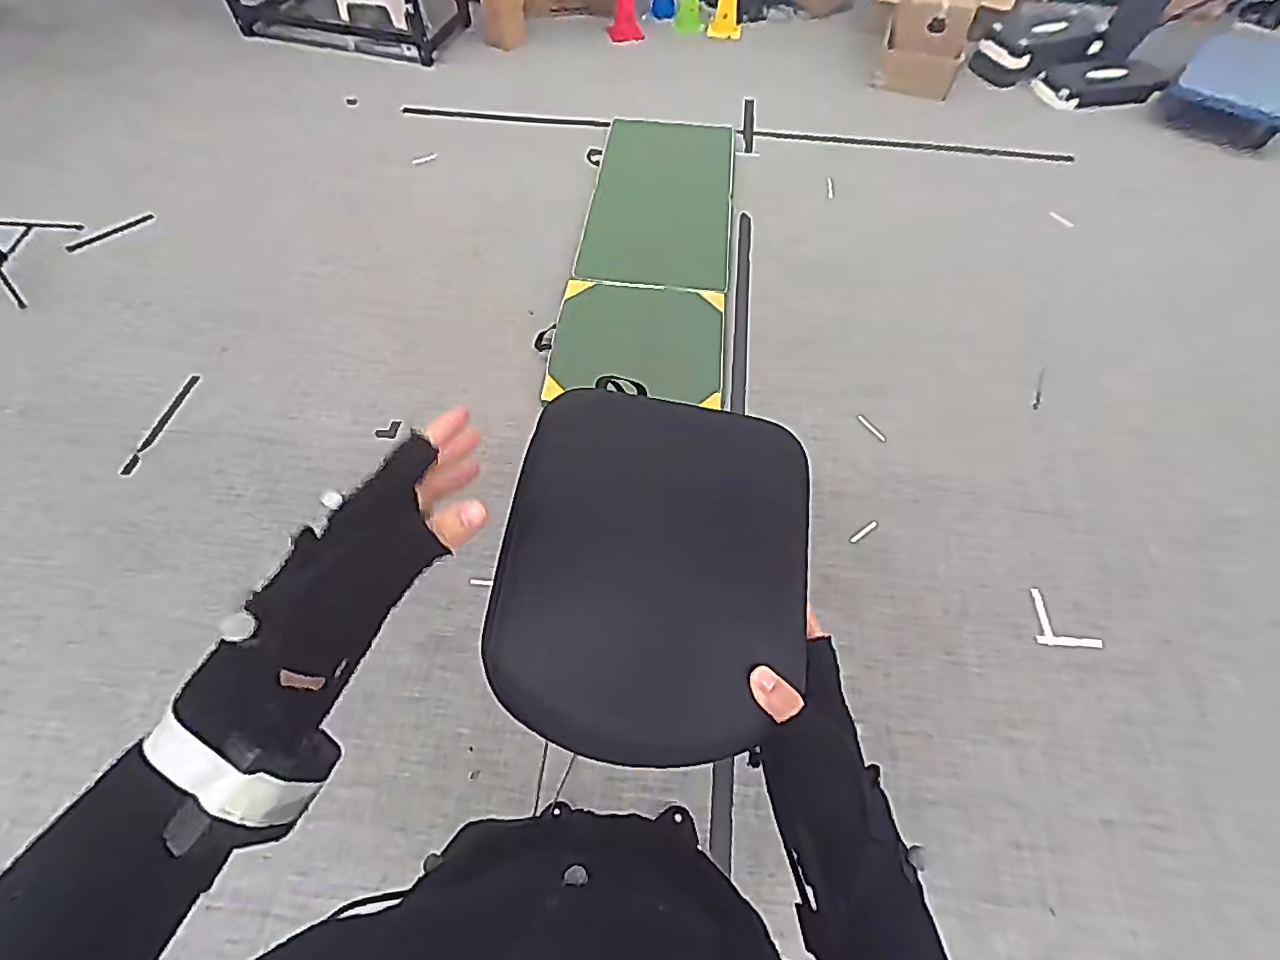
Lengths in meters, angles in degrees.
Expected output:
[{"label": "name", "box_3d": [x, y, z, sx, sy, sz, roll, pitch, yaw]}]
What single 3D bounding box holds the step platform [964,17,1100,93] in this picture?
[{"label": "step platform", "box_3d": [2.212, -2.402, 3.048, 0.684, 0.204, 0.286, -20, 62, -12]}]
